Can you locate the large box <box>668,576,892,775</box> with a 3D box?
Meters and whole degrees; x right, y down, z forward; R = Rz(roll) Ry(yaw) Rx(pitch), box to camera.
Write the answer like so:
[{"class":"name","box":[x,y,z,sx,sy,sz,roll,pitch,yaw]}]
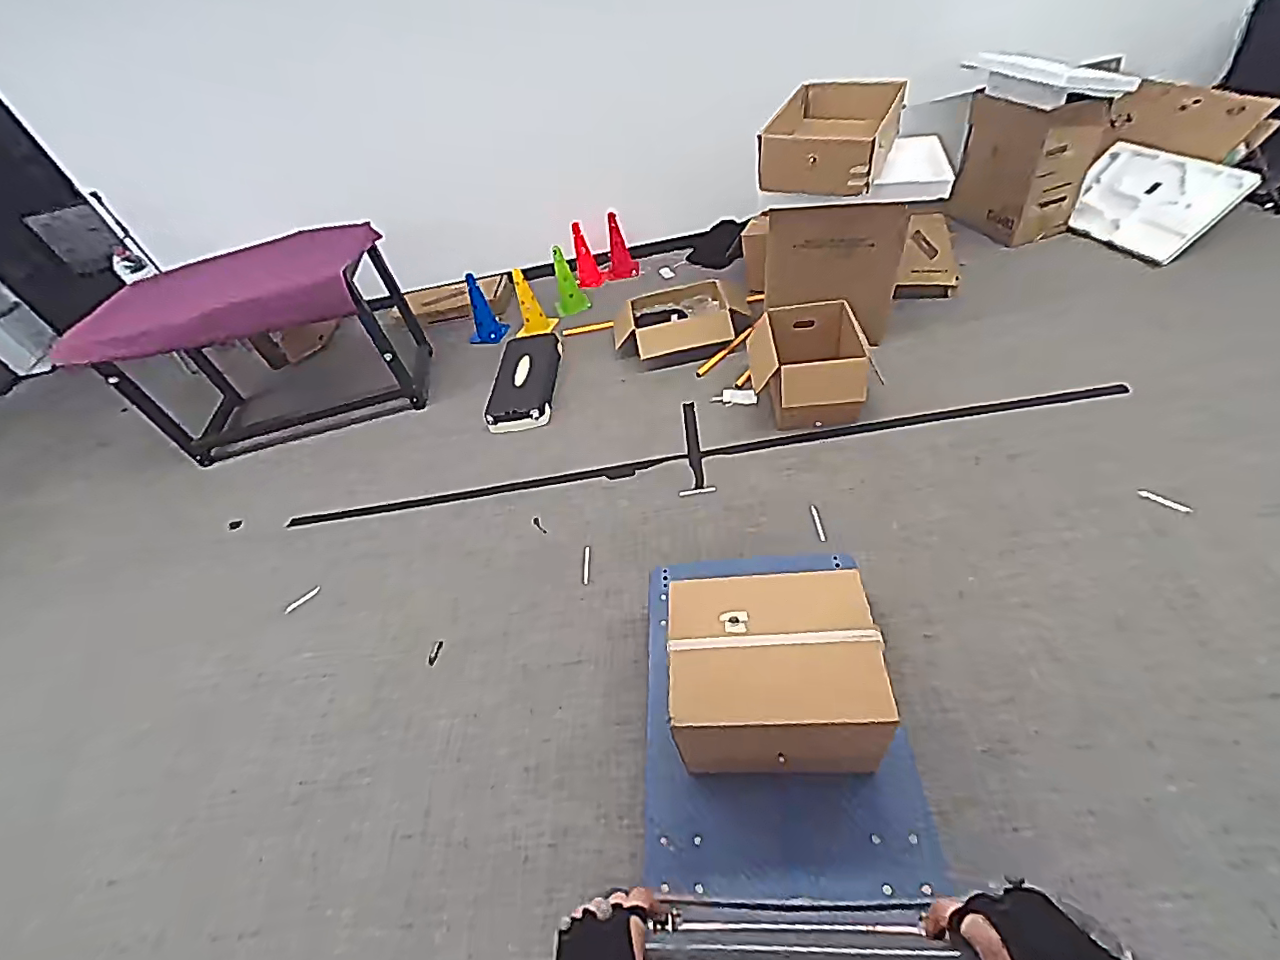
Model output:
[{"class":"large box","box":[0.285,0.438,1.188,0.408,0.320,0.320,-6,45,10]}]
